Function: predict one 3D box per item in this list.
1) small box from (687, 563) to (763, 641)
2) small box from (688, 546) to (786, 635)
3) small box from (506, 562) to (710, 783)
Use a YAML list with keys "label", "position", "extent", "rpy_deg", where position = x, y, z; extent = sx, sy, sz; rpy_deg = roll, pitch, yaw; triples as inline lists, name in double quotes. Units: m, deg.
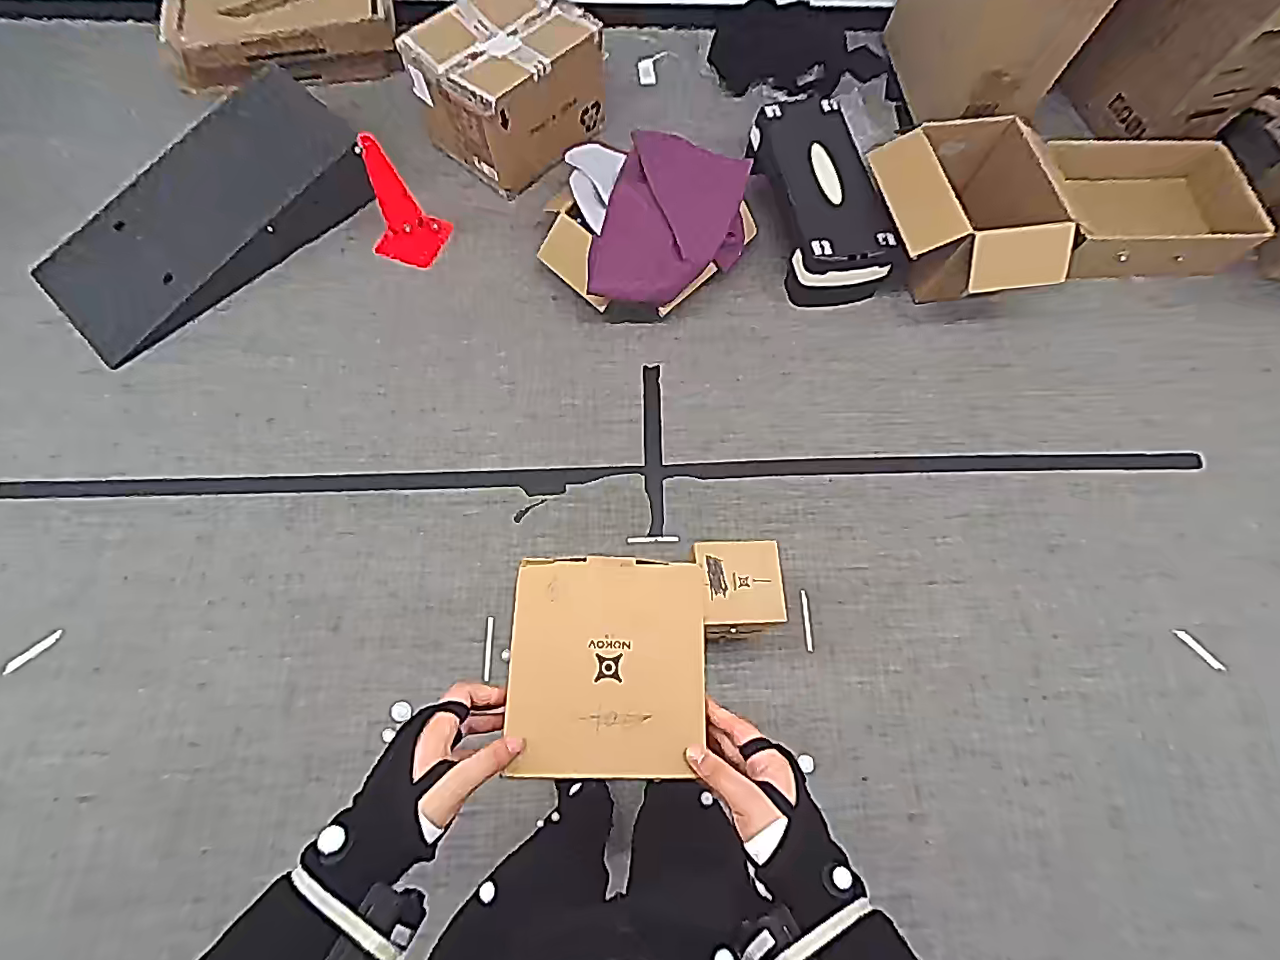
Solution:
- label: "small box"
  position: [0.194, 0.298, 1.309]
  extent: [0.168, 0.176, 0.179]
  rpy_deg: [1, 71, -2]
- label: "small box"
  position: [0.195, 0.240, 1.153]
  extent: [0.179, 0.176, 0.168]
  rpy_deg: [-1, 70, -3]
- label: "small box"
  position: [-0.030, 0.184, 0.531]
  extent: [0.168, 0.176, 0.179]
  rpy_deg: [2, 72, -4]
